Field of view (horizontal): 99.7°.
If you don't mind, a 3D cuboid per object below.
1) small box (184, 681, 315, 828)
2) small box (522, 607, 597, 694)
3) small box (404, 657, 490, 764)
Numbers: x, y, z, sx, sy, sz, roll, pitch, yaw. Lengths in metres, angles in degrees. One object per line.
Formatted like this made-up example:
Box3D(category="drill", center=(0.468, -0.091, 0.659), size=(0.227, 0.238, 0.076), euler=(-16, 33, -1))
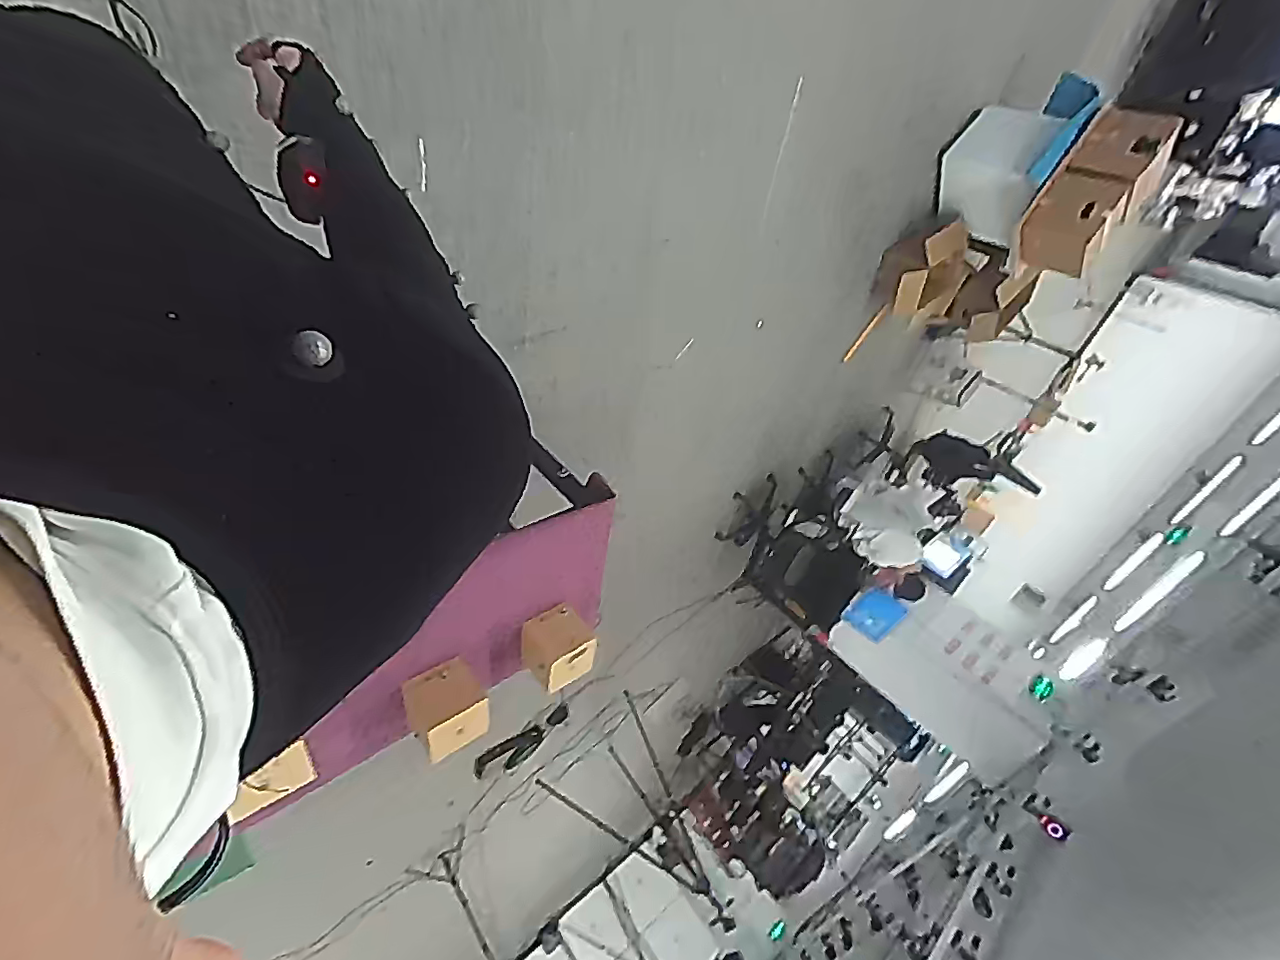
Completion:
Box3D(category="small box", center=(-0.781, 0.544, 1.089), size=(0.168, 0.176, 0.179), euler=(-21, 139, -38))
Box3D(category="small box", center=(-0.255, 0.521, 1.688), size=(0.168, 0.176, 0.179), euler=(-21, 138, -35))
Box3D(category="small box", center=(-0.526, 0.622, 1.476), size=(0.168, 0.176, 0.179), euler=(-21, 137, -37))
